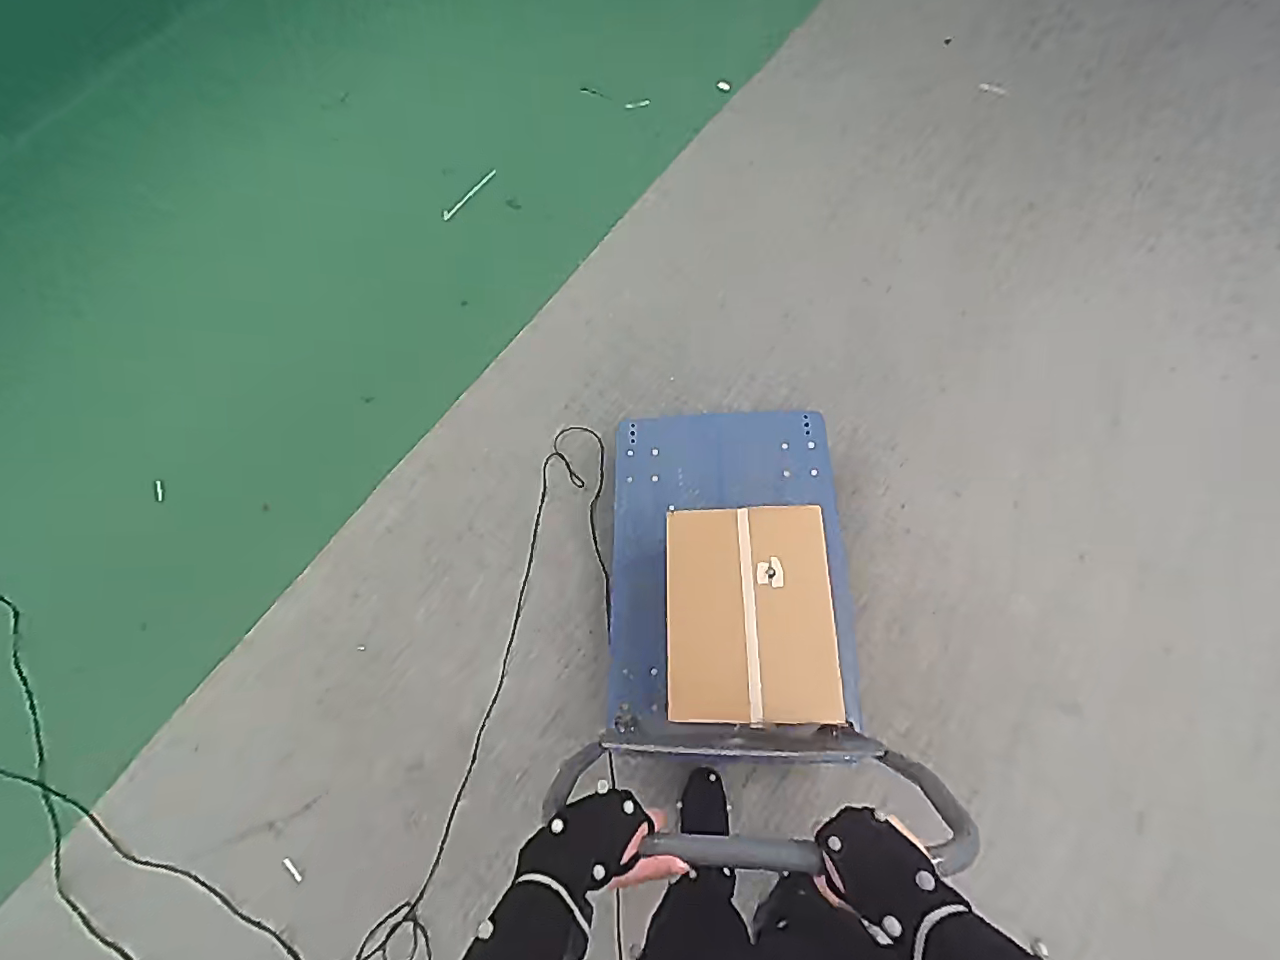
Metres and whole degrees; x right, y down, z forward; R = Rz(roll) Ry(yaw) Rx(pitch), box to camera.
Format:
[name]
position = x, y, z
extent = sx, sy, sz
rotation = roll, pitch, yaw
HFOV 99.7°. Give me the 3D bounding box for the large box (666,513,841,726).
[large box]
position = 0.229, 0.317, 1.188
extent = 0.320, 0.320, 0.408
rotation = -2, 67, 7
